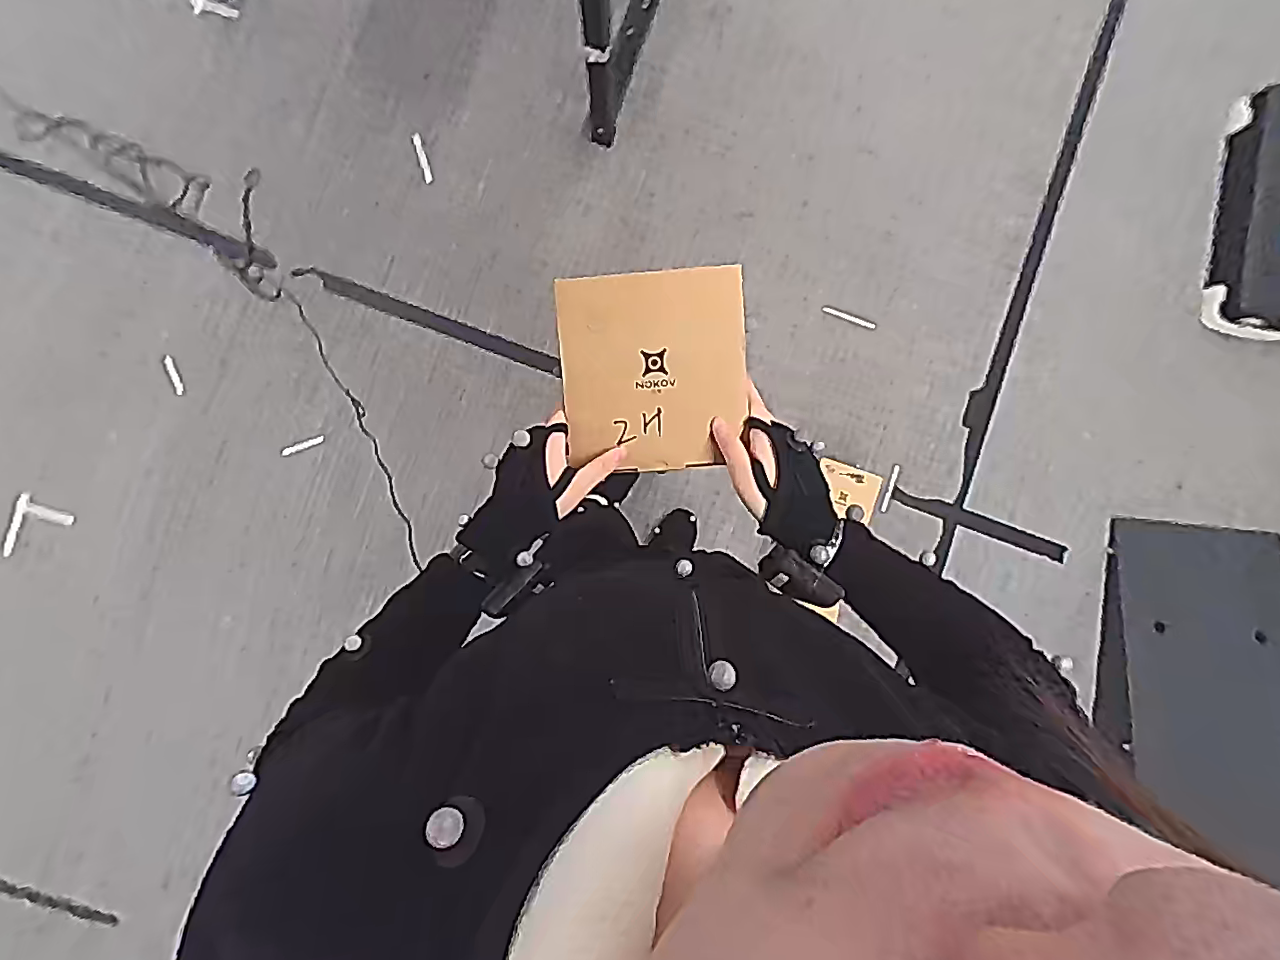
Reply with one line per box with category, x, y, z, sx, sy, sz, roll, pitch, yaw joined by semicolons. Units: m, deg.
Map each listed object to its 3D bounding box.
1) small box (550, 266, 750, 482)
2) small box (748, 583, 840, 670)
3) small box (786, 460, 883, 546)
small box;0.012;-0.099;0.548;0.168;0.176;0.179;-5;98;3
small box;0.395;0.375;1.419;0.179;0.176;0.168;13;90;-2
small box;0.501;0.056;1.420;0.168;0.176;0.179;20;90;-1
